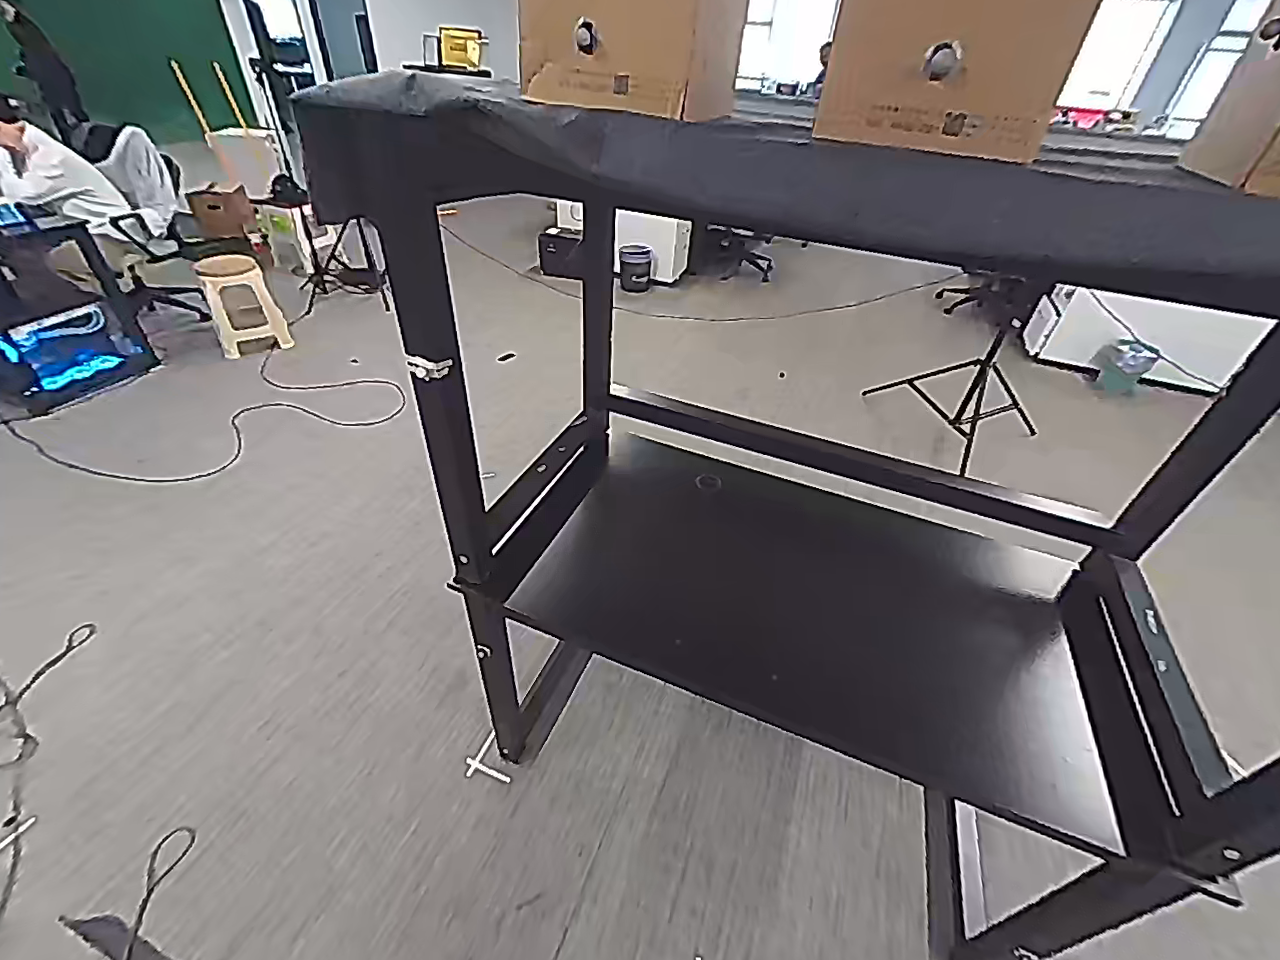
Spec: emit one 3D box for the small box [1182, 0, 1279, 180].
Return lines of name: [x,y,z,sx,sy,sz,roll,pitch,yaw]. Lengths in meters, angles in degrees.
small box: [0.534,-0.292,0.362,0.168,0.176,0.179,20,39,18]

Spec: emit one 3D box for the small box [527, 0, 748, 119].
small box: [0.002,-0.451,0.504,0.168,0.176,0.179,18,39,14]

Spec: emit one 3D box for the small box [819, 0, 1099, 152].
small box: [0.256,-0.376,0.435,0.168,0.176,0.179,18,38,16]
